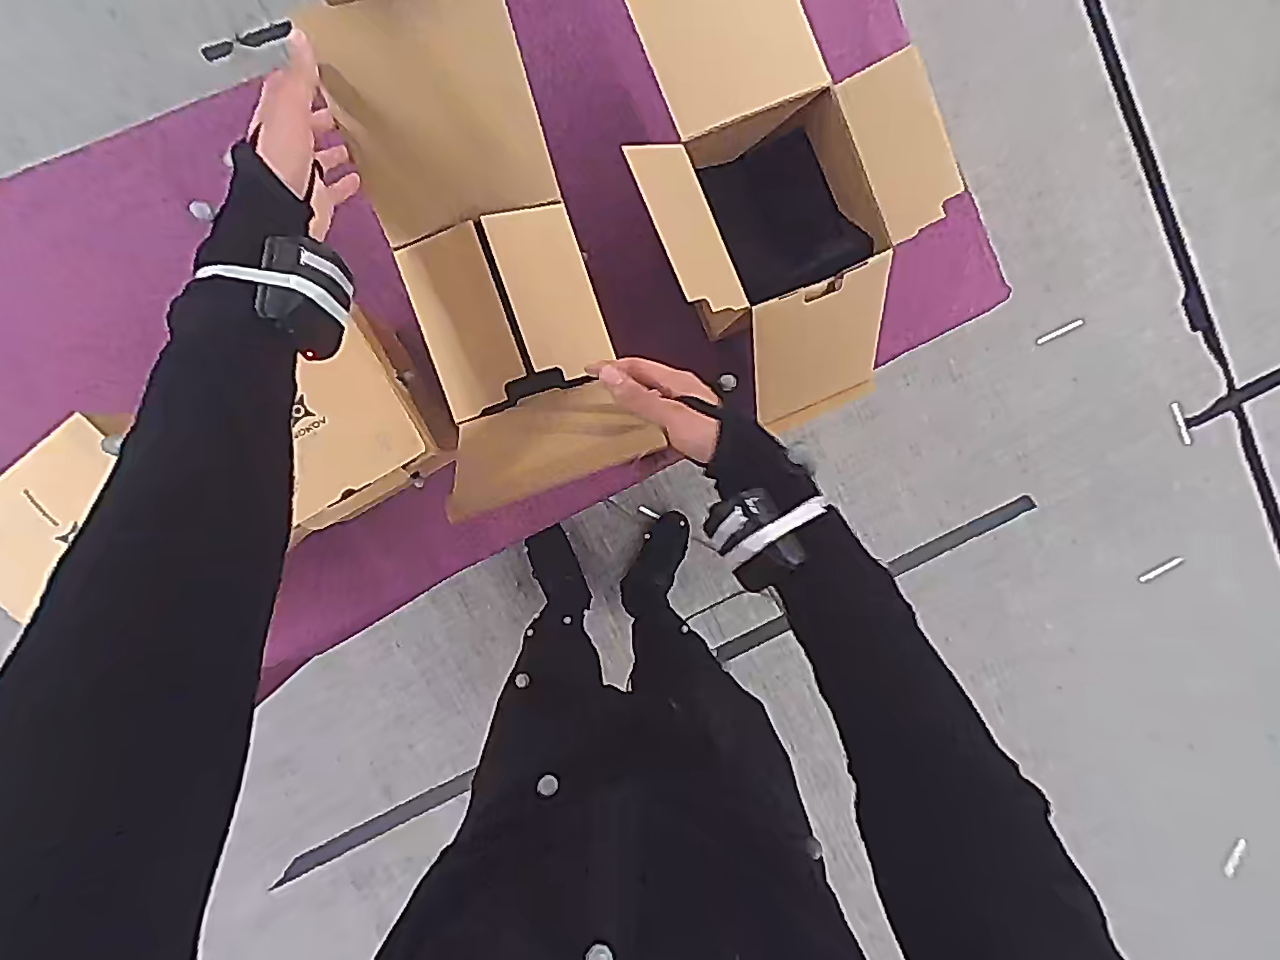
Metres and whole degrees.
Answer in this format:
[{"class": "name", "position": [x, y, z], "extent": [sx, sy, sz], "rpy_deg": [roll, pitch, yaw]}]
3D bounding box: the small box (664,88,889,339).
[{"class": "small box", "position": [0.138, -0.282, 0.612], "extent": [0.168, 0.176, 0.179], "rpy_deg": [-23, 96, -4]}]
